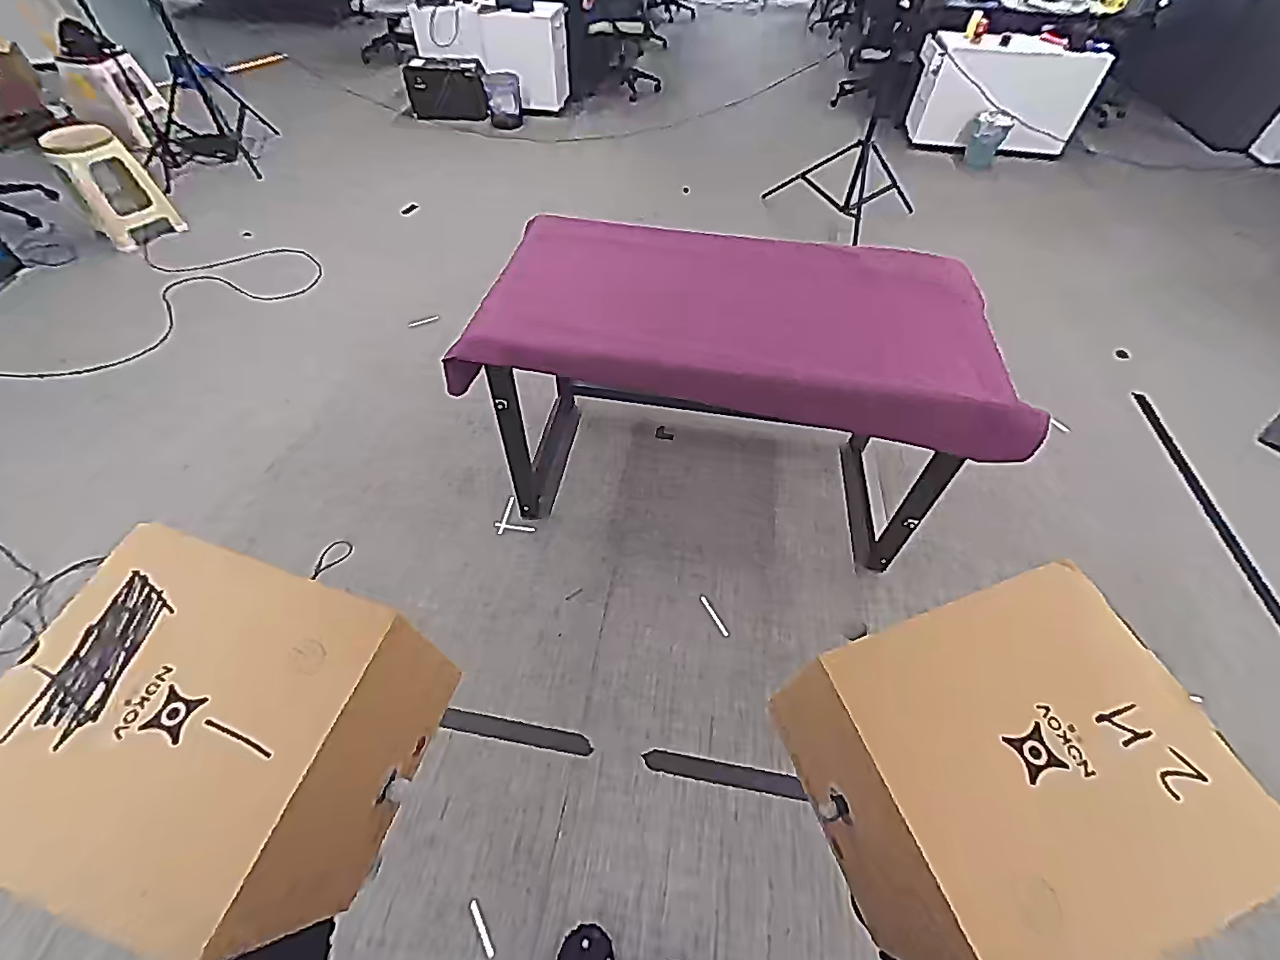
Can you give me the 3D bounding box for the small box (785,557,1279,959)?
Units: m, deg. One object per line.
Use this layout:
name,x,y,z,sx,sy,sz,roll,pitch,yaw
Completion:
small box,0.210,0.178,0.348,0.179,0.176,0.168,-18,61,-10

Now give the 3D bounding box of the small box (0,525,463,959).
small box,-0.243,0.157,0.347,0.179,0.176,0.168,18,60,6
